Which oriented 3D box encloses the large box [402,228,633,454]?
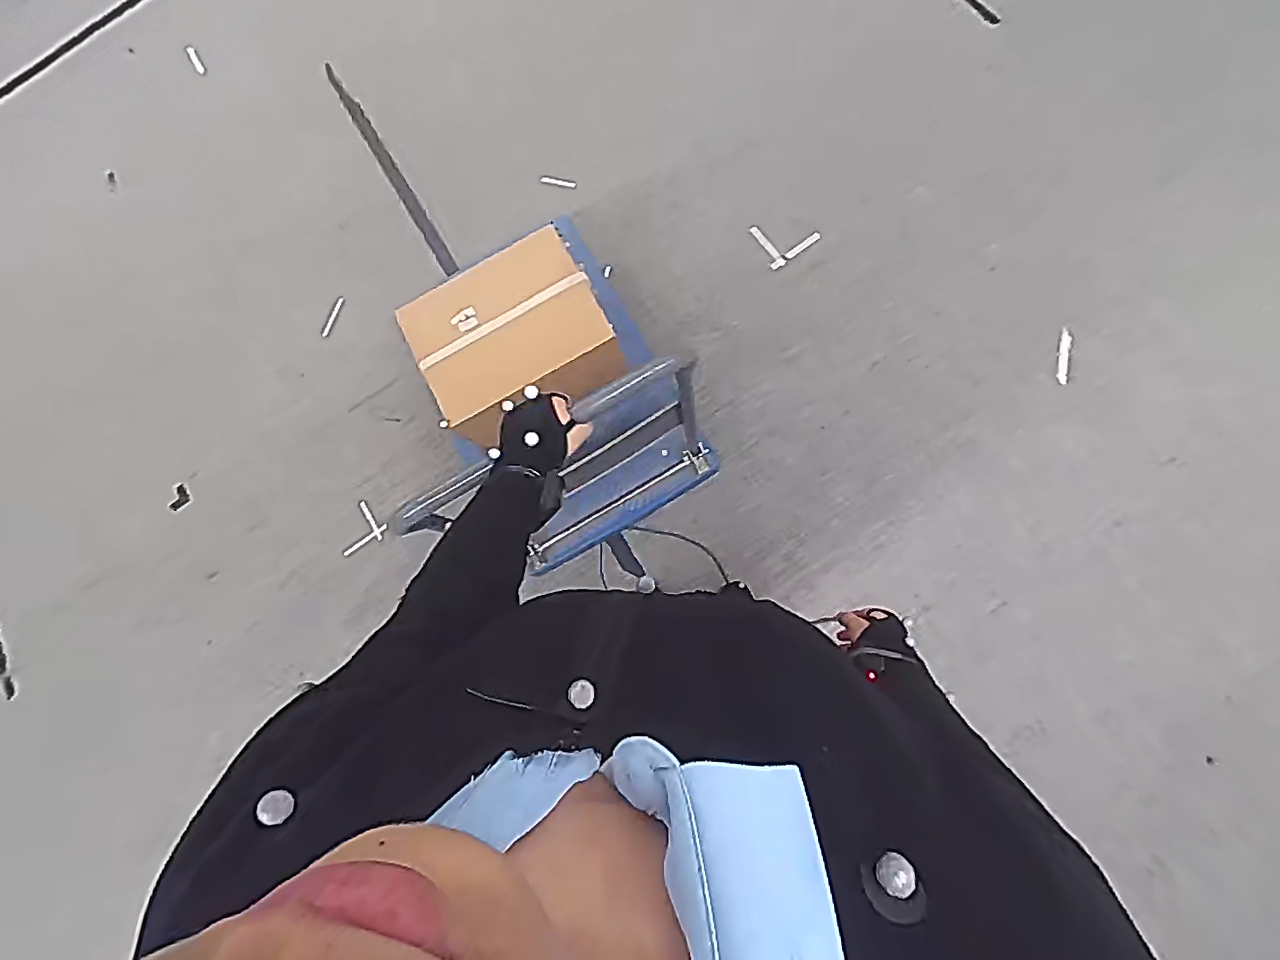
[{"bbox_3d":[-0.276,-0.314,1.324,0.408,0.320,0.320,-29,77,2],"label":"large box"}]
